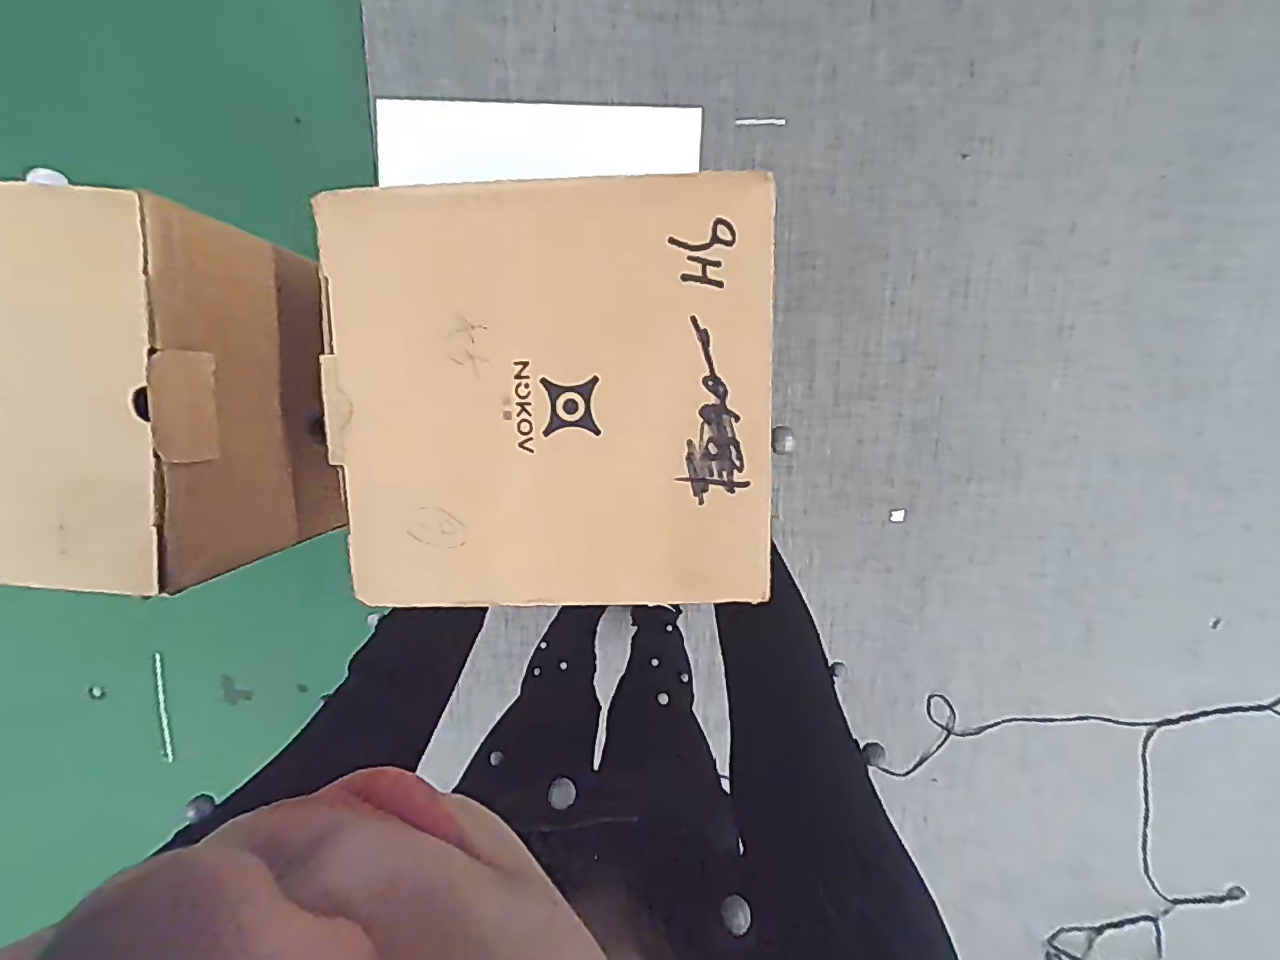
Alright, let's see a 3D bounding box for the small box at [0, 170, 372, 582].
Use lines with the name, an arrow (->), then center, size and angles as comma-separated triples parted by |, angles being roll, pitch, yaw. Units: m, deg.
small box -> -0.278, -0.053, 0.301 | 0.179, 0.176, 0.168 | 4, 99, -1
